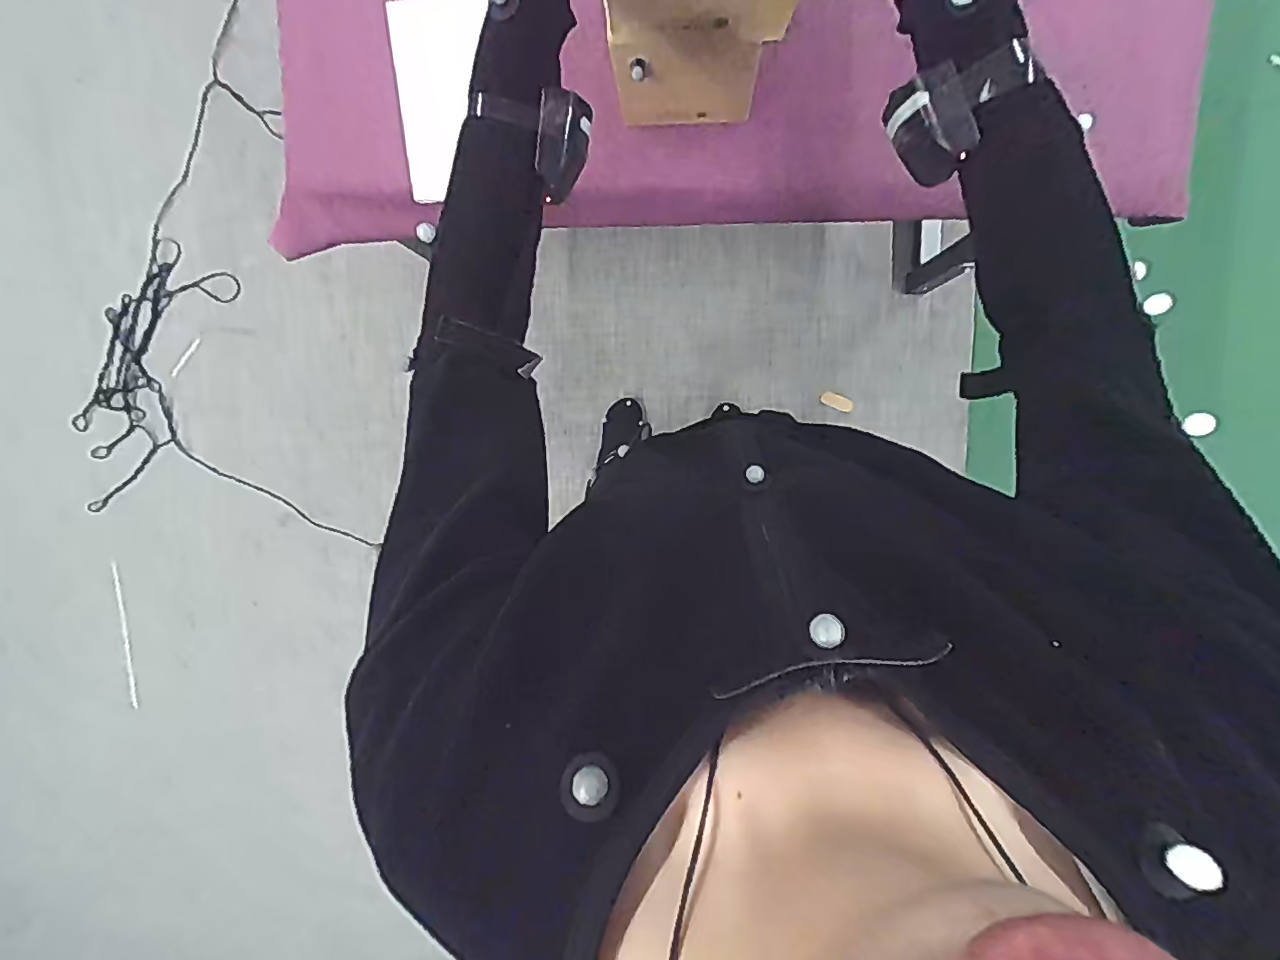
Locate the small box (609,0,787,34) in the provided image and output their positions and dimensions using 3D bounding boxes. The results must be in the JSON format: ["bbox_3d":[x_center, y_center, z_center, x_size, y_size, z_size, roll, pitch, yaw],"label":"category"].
[{"bbox_3d":[0.051,-0.495,0.425,0.168,0.176,0.179,0,100,1],"label":"small box"}]
